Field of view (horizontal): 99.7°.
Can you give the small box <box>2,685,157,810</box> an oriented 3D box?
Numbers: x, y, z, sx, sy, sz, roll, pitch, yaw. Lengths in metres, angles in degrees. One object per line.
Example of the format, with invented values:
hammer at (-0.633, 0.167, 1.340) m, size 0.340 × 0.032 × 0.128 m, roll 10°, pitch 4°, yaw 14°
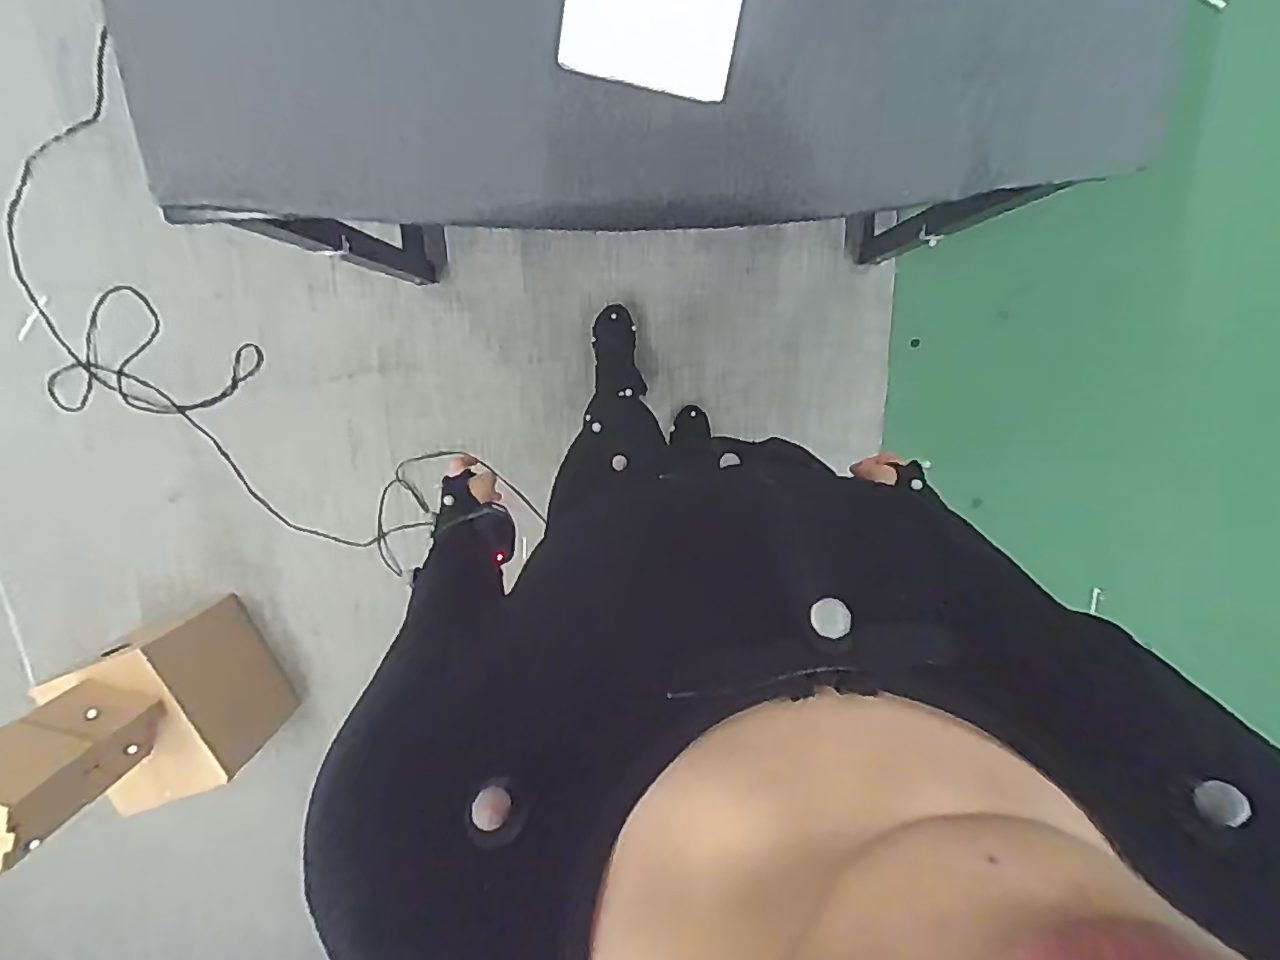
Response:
small box at (-1.246, 0.592, 1.214) m, size 0.179 × 0.176 × 0.168 m, roll 18°, pitch 101°, yaw -7°
